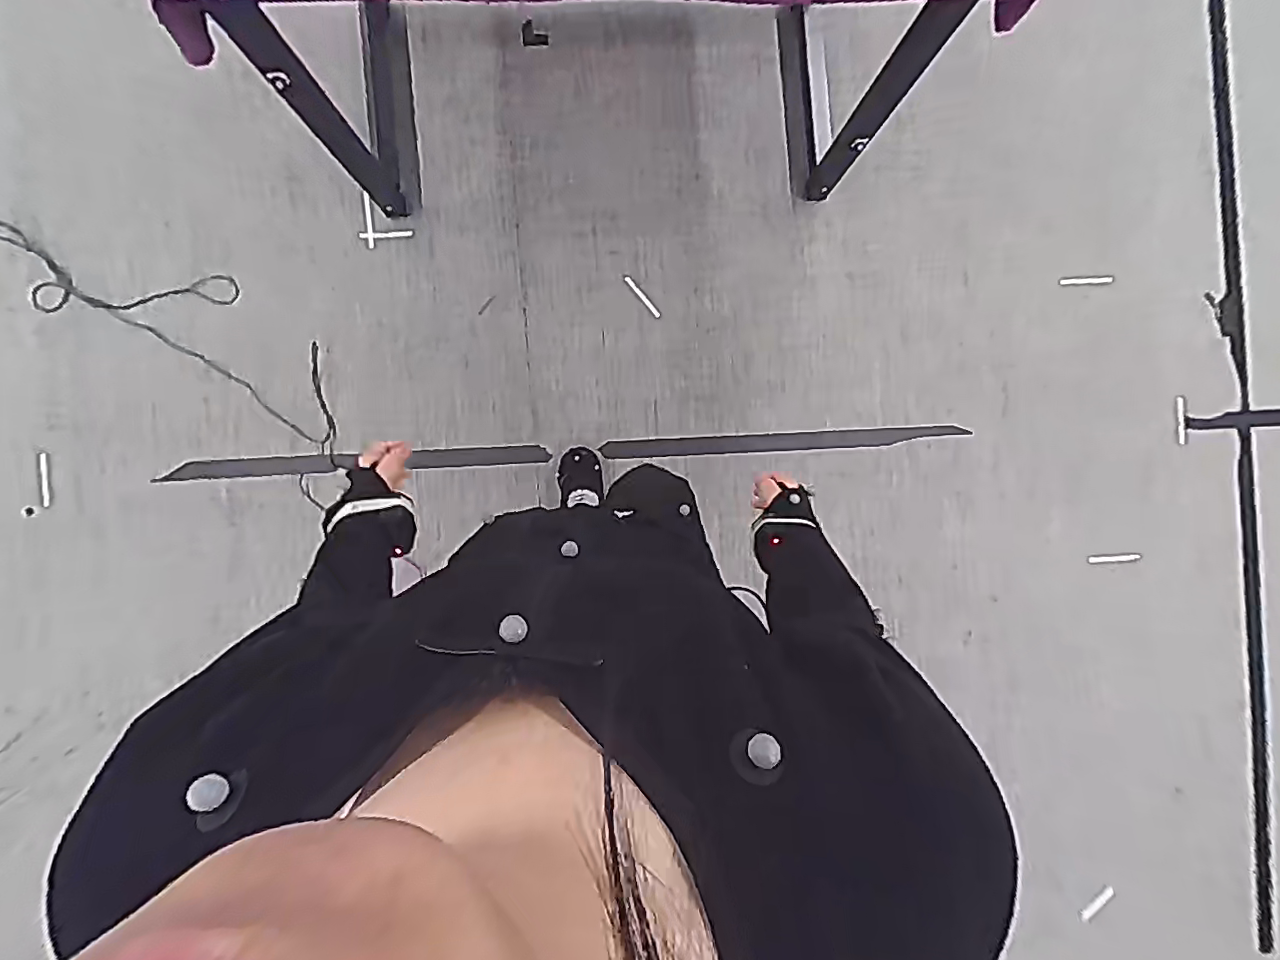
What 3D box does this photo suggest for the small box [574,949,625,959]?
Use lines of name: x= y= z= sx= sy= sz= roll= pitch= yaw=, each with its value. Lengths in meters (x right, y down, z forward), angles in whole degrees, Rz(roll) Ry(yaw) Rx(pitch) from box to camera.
small box: x=-0.104 y=1.377 z=1.391 sx=0.168 sy=0.176 sz=0.179 roll=-13 pitch=91 yaw=-4
